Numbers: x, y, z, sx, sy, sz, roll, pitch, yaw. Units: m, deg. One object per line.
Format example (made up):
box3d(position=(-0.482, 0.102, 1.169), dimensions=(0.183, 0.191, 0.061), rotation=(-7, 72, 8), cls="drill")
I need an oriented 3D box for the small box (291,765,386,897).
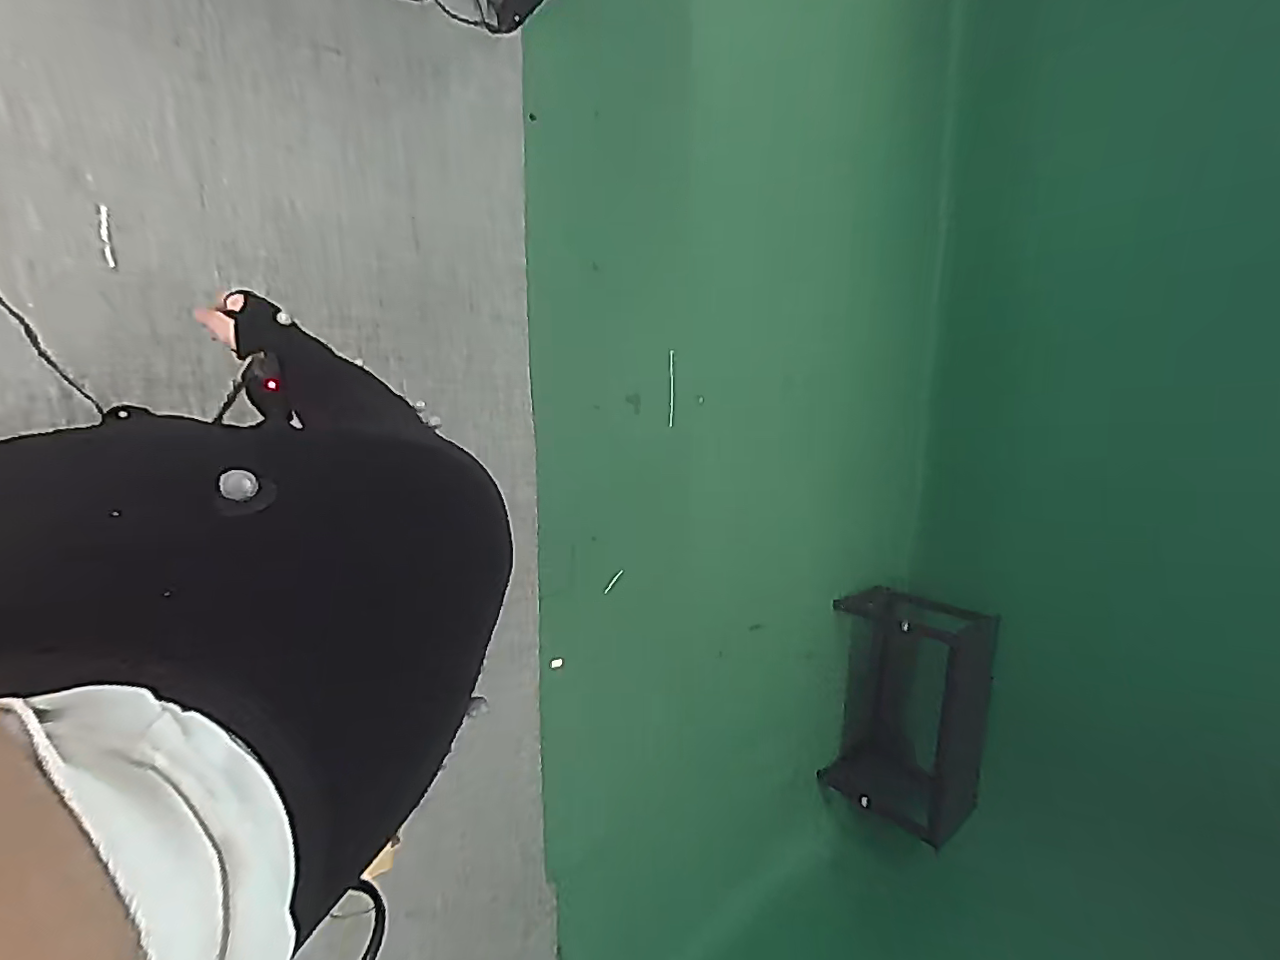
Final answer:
box3d(position=(-0.737, 0.846, 1.323), dimensions=(0.168, 0.176, 0.179), rotation=(-10, 104, -41), cls="small box")
